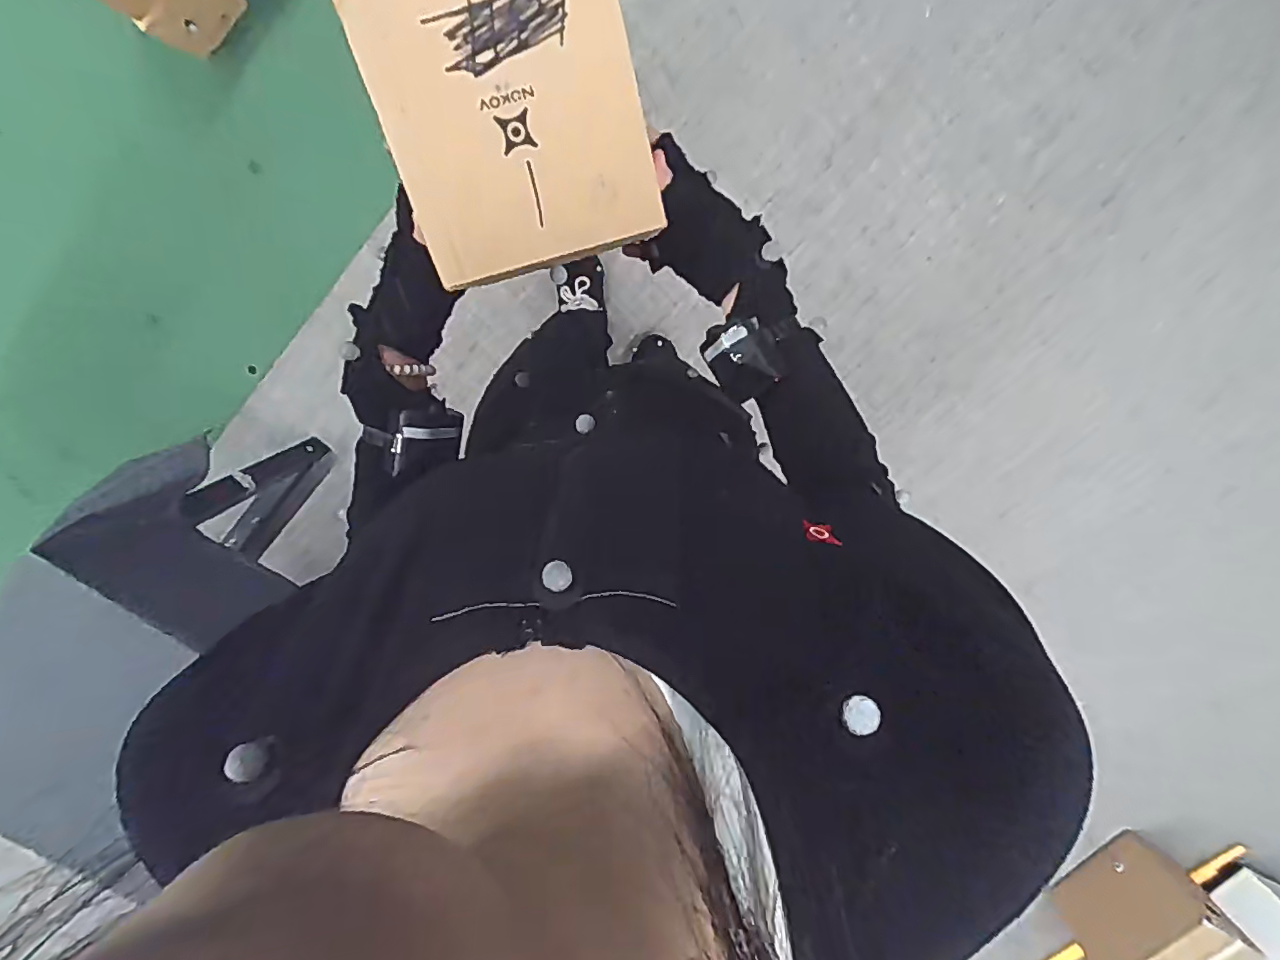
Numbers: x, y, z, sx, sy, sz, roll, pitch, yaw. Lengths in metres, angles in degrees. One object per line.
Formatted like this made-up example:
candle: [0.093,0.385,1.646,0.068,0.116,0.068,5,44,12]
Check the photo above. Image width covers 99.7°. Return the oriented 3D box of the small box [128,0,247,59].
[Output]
small box: [-0.960,-1.005,1.096,0.168,0.176,0.179,-39,104,12]

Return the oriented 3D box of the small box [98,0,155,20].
small box: [-0.960,-0.965,0.936,0.179,0.176,0.168,-40,104,13]

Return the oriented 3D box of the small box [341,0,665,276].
small box: [-0.089,-0.267,0.418,0.168,0.176,0.179,-16,112,0]

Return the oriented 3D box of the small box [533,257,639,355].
small box: [-0.136,-0.422,1.312,0.179,0.176,0.168,39,116,6]
